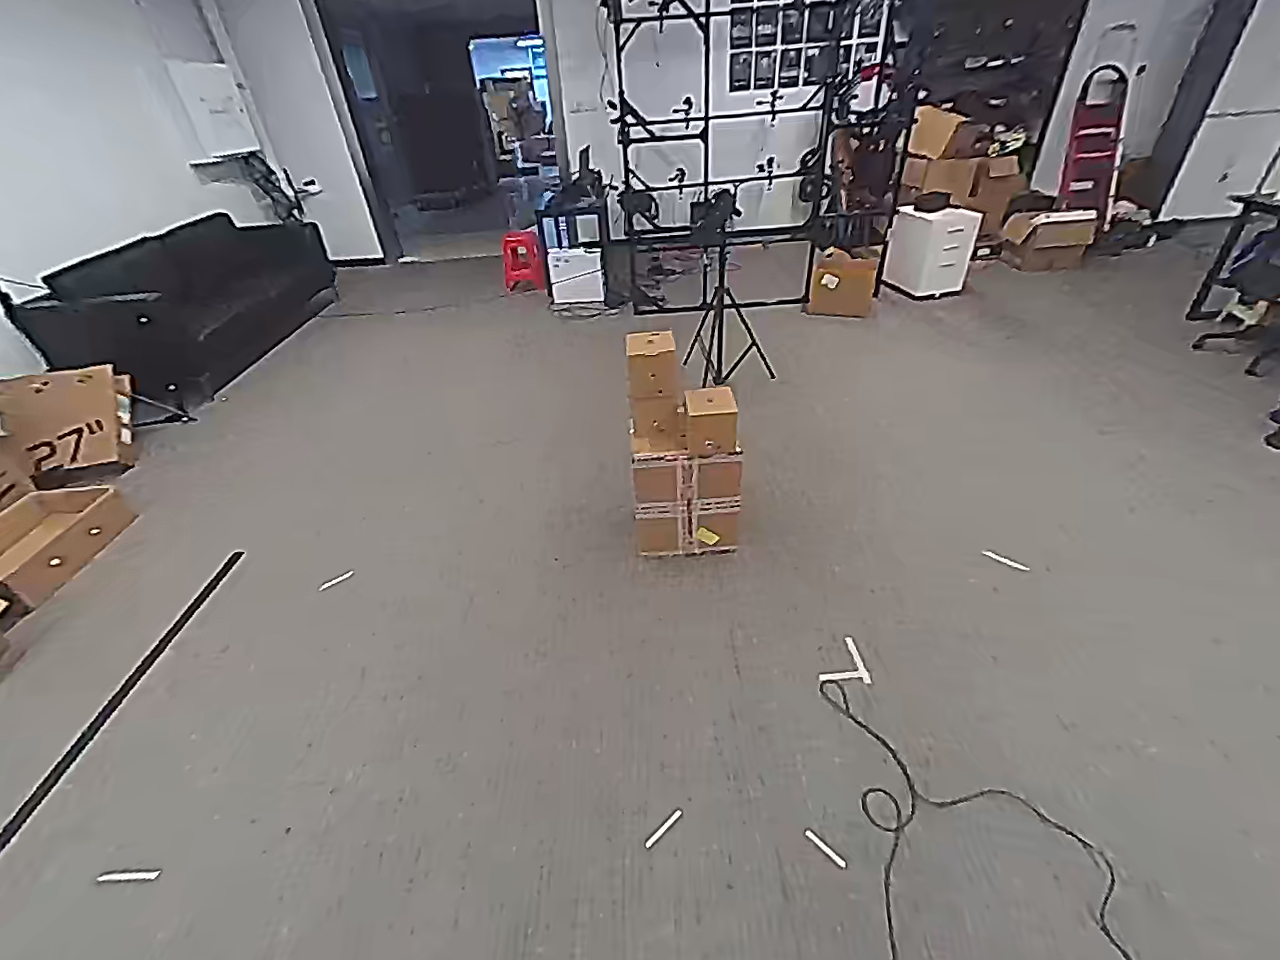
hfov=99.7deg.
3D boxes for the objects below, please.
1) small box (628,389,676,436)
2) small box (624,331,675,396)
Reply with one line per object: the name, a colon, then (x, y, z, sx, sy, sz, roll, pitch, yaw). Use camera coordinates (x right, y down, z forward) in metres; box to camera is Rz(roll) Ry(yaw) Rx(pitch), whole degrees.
small box: (0.043, -0.283, 2.020, 0.168, 0.176, 0.179, -6, 38, 1)
small box: (0.034, -0.407, 1.912, 0.168, 0.176, 0.179, -5, 39, 2)
